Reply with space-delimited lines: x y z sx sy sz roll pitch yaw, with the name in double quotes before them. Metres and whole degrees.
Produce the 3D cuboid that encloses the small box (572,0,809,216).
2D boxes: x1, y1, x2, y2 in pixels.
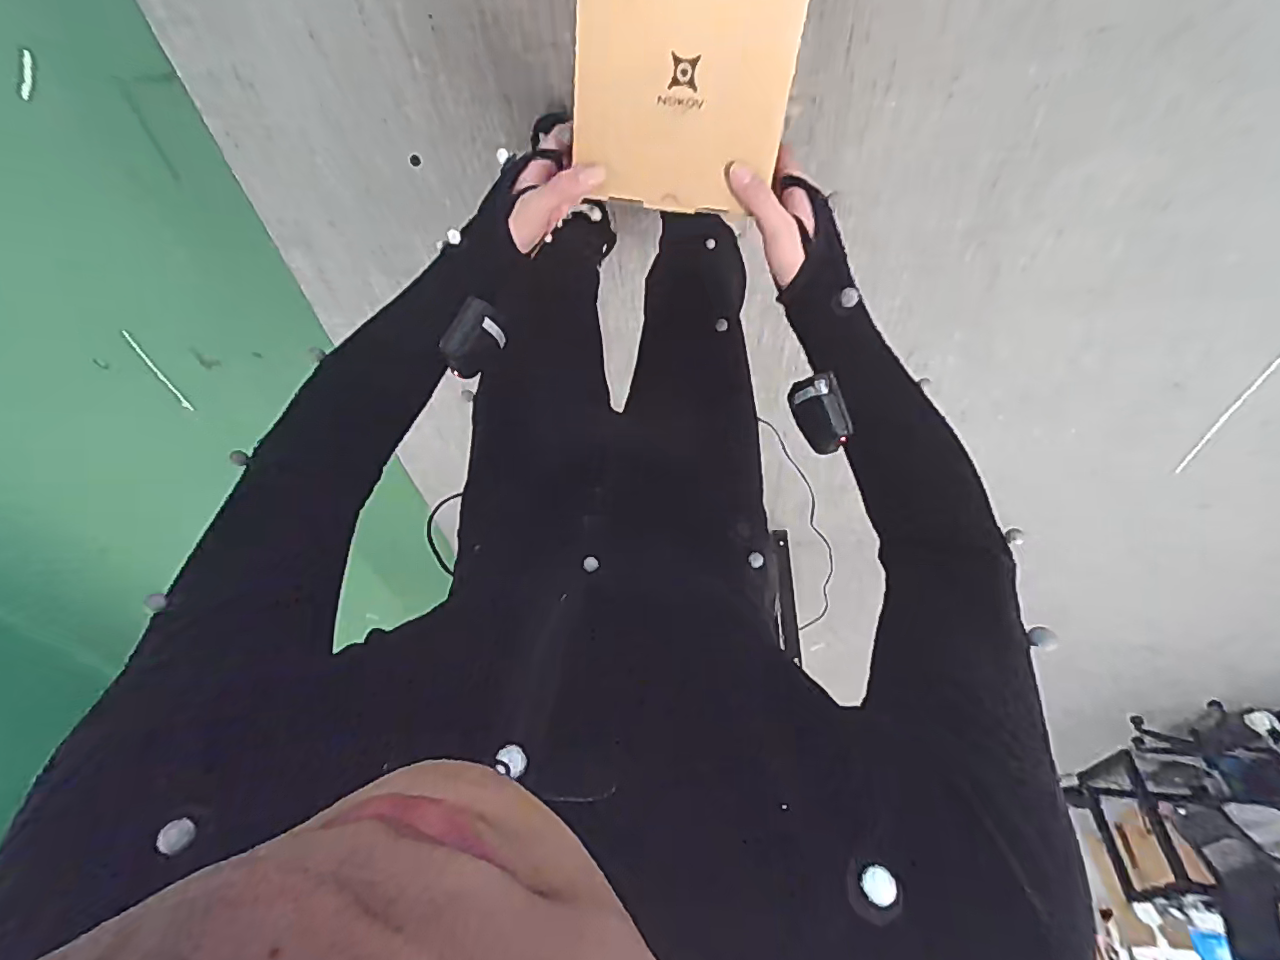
"small box" 0.036 -0.346 0.472 0.168 0.176 0.179 6 124 0
